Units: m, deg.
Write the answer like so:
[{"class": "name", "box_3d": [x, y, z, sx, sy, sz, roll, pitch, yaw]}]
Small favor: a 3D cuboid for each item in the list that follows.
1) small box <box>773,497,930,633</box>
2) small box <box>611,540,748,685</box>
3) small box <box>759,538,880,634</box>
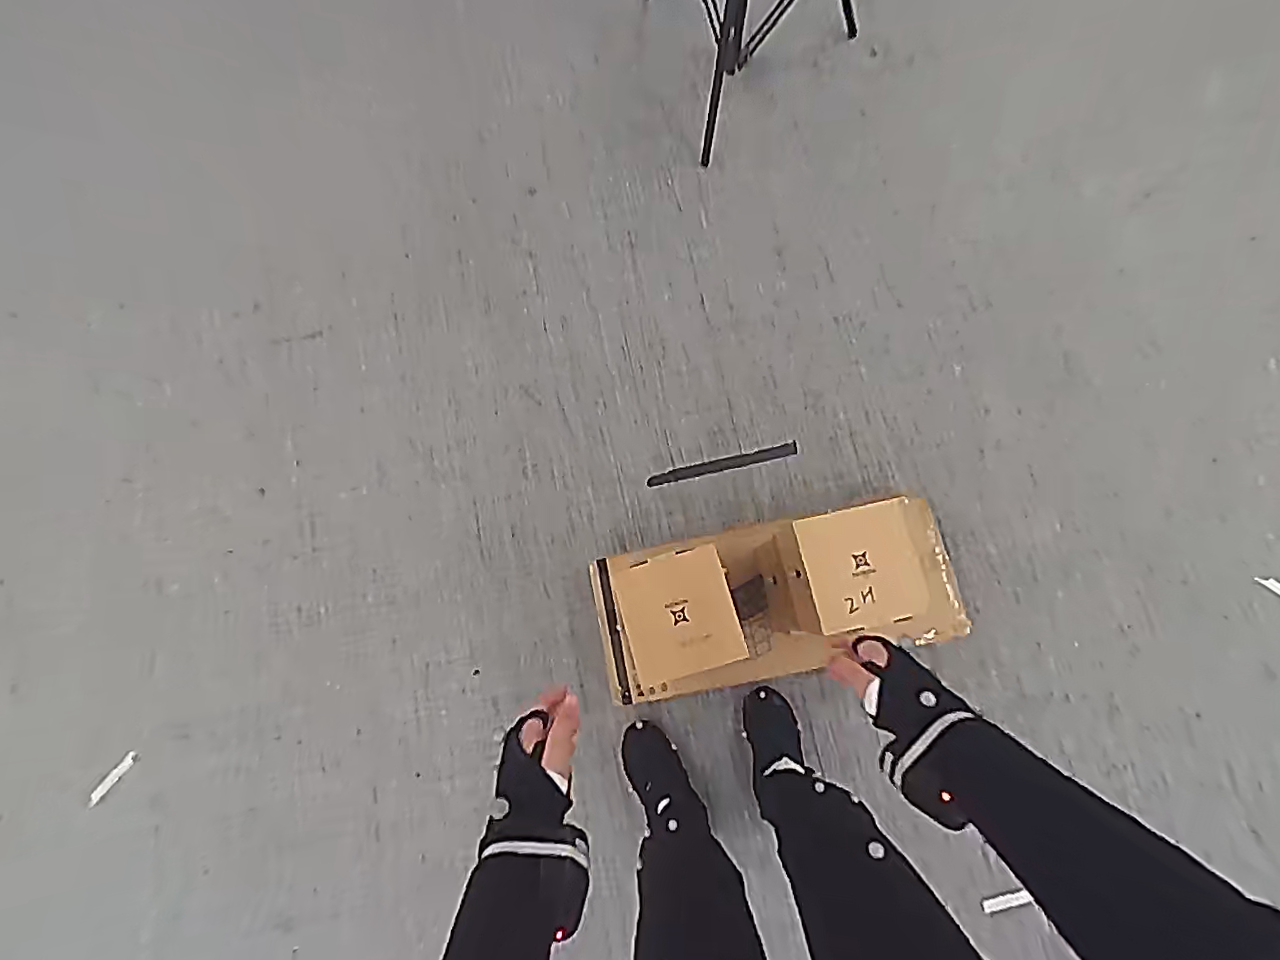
[{"class": "small box", "box_3d": [0.327, 0.142, 0.877, 0.168, 0.176, 0.179, -13, 78, 1]}, {"class": "small box", "box_3d": [0.058, 0.211, 0.876, 0.168, 0.176, 0.179, -17, 78, -1]}, {"class": "small box", "box_3d": [0.332, 0.191, 1.036, 0.168, 0.176, 0.179, -8, 78, 2]}]
